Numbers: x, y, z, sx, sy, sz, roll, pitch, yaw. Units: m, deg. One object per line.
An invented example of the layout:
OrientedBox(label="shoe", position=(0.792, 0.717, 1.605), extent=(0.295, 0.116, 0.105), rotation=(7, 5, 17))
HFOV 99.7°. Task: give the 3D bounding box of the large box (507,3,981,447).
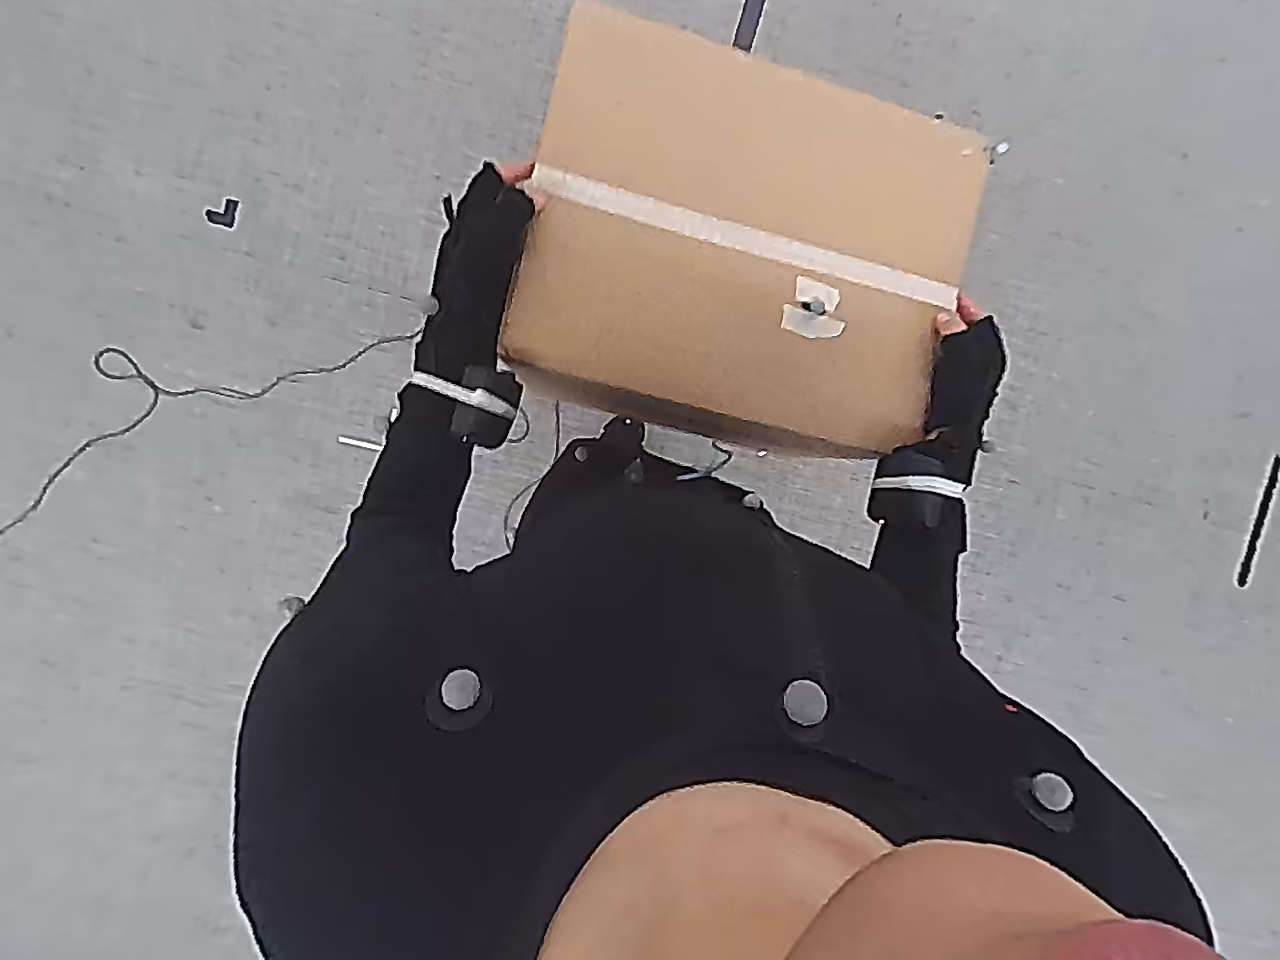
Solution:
OrientedBox(label="large box", position=(0.084, -0.233, 0.644), extent=(0.408, 0.320, 0.320), rotation=(14, 94, -9))
